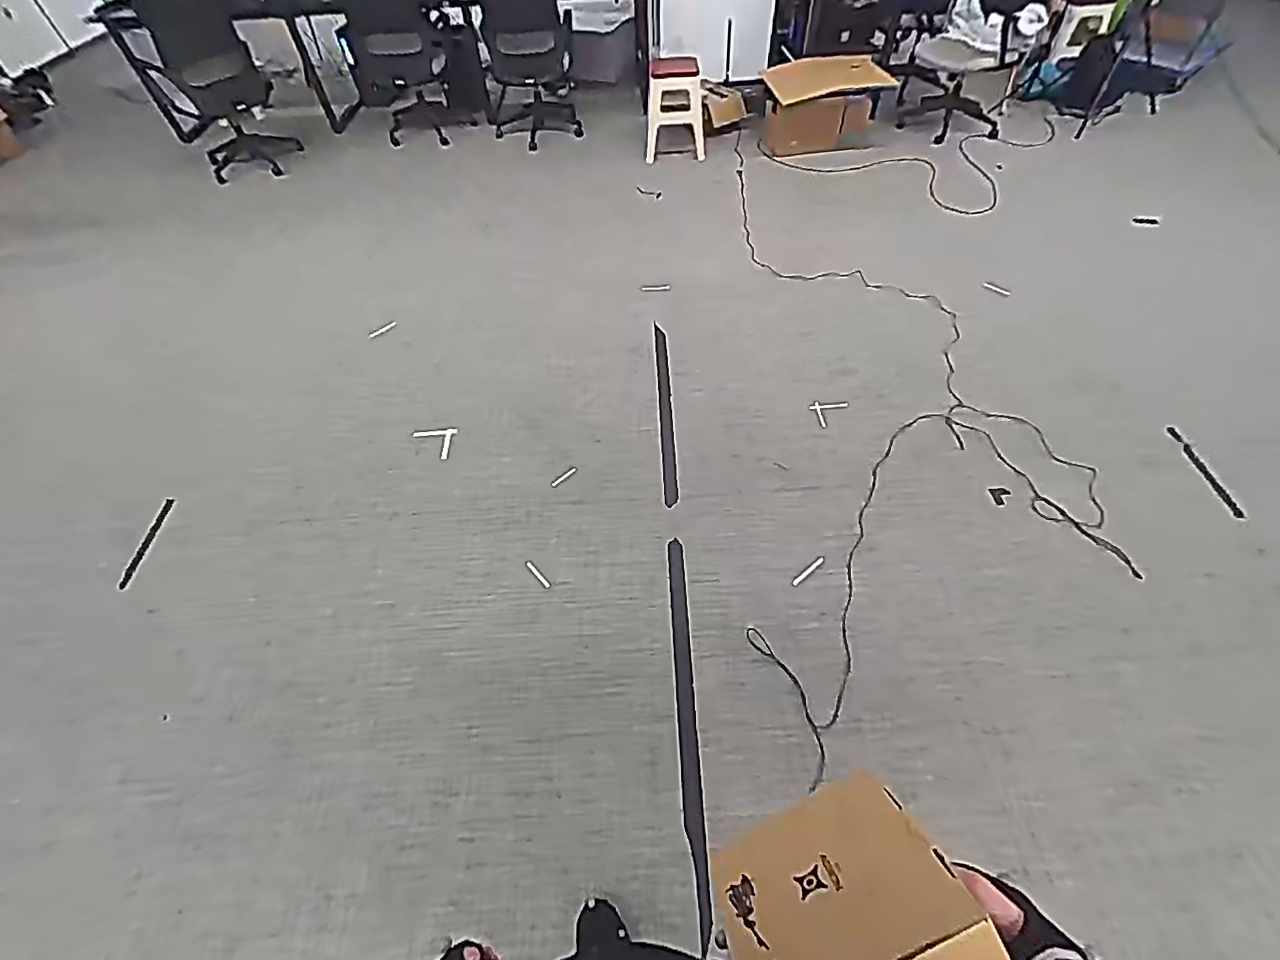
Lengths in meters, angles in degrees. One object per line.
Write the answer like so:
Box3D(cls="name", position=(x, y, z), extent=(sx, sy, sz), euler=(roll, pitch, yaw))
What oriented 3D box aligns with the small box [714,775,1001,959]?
Box3D(cls="small box", position=(0.185, 0.398, 0.445), extent=(0.179, 0.168, 0.176), euler=(-27, 93, 0))
